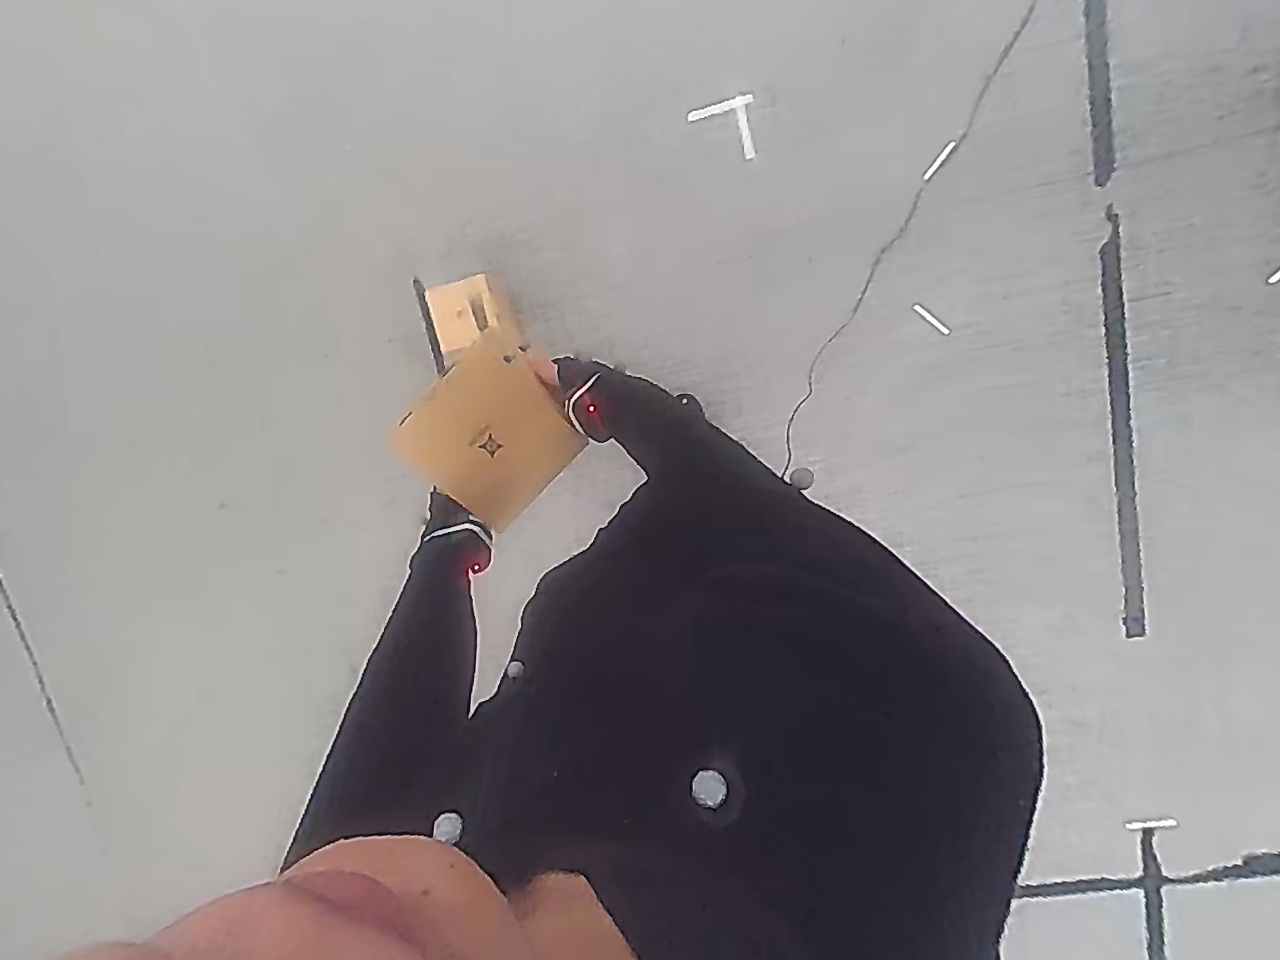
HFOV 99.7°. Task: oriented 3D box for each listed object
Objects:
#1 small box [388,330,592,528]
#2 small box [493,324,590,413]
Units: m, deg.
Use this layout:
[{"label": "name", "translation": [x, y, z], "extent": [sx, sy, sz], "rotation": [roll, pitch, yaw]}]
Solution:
[{"label": "small box", "translation": [-0.180, -0.076, 0.703], "extent": [0.168, 0.176, 0.179], "rotation": [-44, 109, 10]}, {"label": "small box", "translation": [-0.199, -0.129, 0.856], "extent": [0.179, 0.176, 0.168], "rotation": [41, 101, -19]}]
